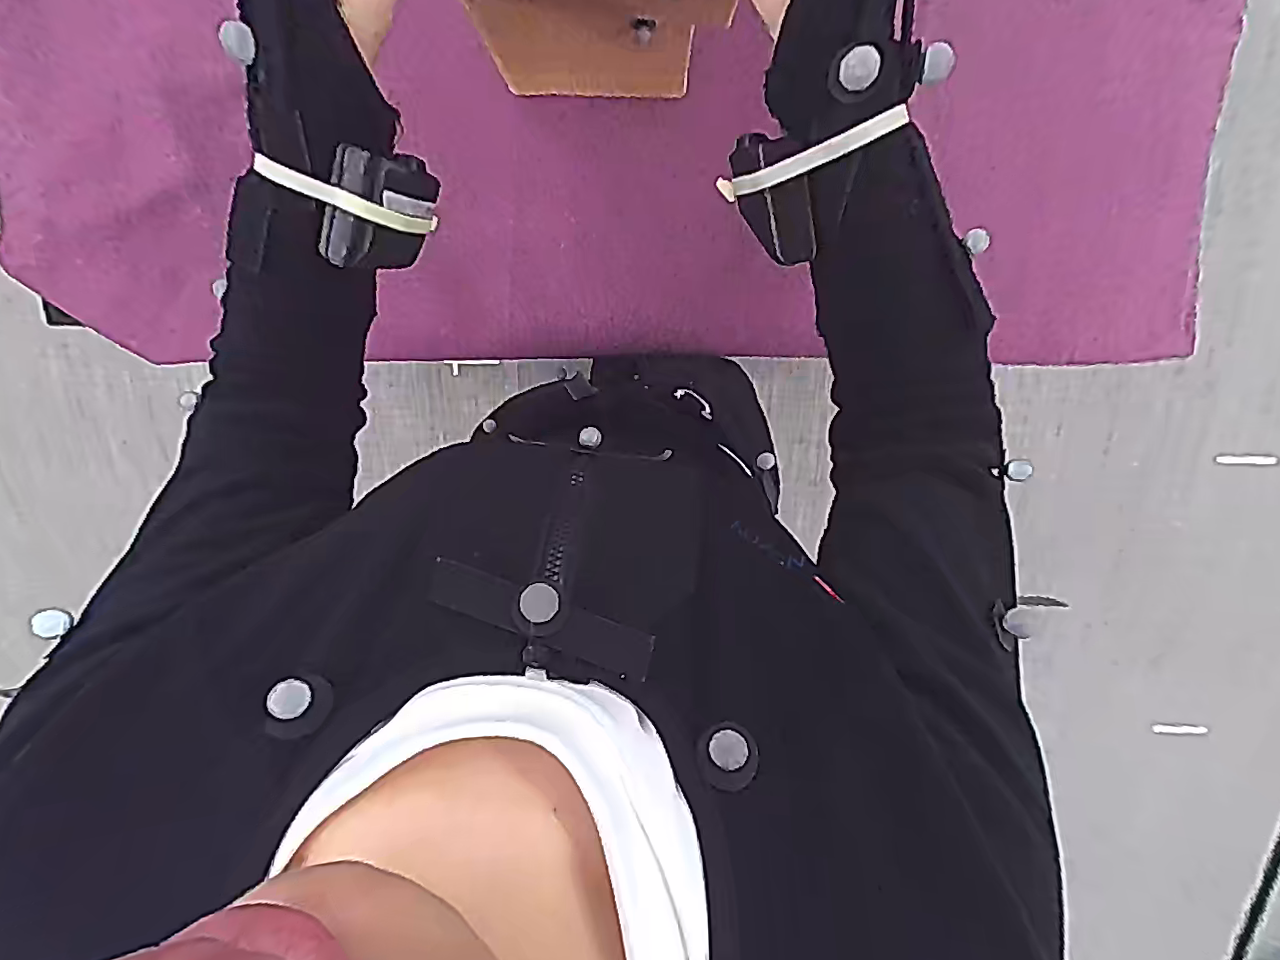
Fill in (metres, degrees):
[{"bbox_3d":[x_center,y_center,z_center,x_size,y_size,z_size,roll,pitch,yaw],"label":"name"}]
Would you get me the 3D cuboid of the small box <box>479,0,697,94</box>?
[{"bbox_3d":[-0.040,-0.442,0.438,0.179,0.176,0.168,1,104,-1],"label":"small box"}]
